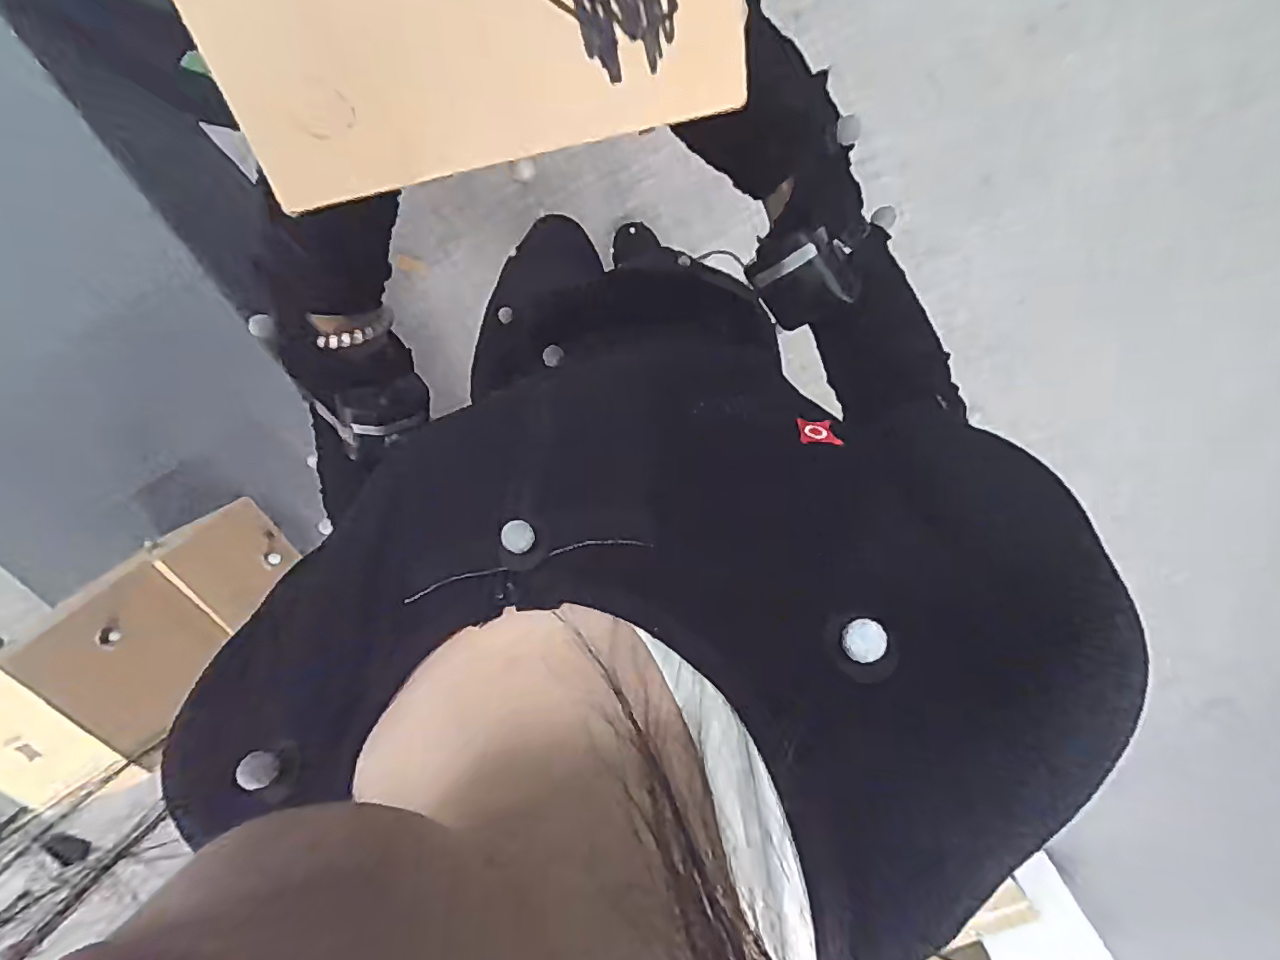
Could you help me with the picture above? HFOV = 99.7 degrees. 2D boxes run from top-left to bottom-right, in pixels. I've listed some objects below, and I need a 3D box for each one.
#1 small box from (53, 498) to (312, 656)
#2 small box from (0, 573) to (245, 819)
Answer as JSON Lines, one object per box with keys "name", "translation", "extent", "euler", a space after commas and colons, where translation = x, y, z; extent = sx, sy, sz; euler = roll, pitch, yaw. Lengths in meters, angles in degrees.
{"name": "small box", "translation": [-0.609, 0.153, 0.749], "extent": [0.179, 0.176, 0.168], "euler": [-23, 113, 10]}
{"name": "small box", "translation": [-0.610, 0.227, 0.604], "extent": [0.168, 0.176, 0.179], "euler": [-25, 113, 12]}
